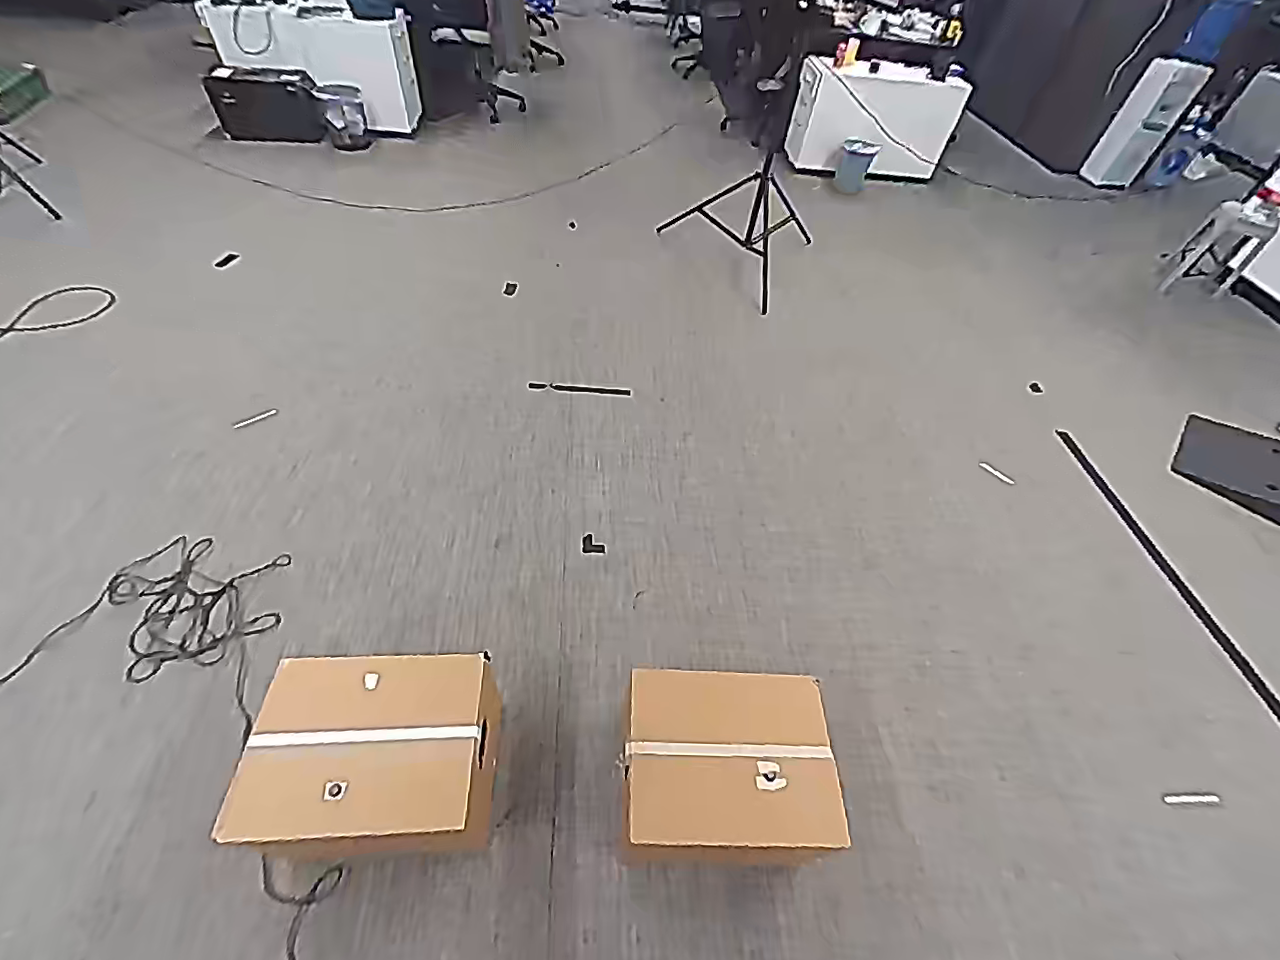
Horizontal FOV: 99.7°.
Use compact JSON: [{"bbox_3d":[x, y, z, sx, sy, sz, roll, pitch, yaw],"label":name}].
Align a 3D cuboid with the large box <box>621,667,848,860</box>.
[{"bbox_3d":[0.169,0.623,1.180,0.408,0.320,0.320,4,50,-5],"label":"large box"}]
